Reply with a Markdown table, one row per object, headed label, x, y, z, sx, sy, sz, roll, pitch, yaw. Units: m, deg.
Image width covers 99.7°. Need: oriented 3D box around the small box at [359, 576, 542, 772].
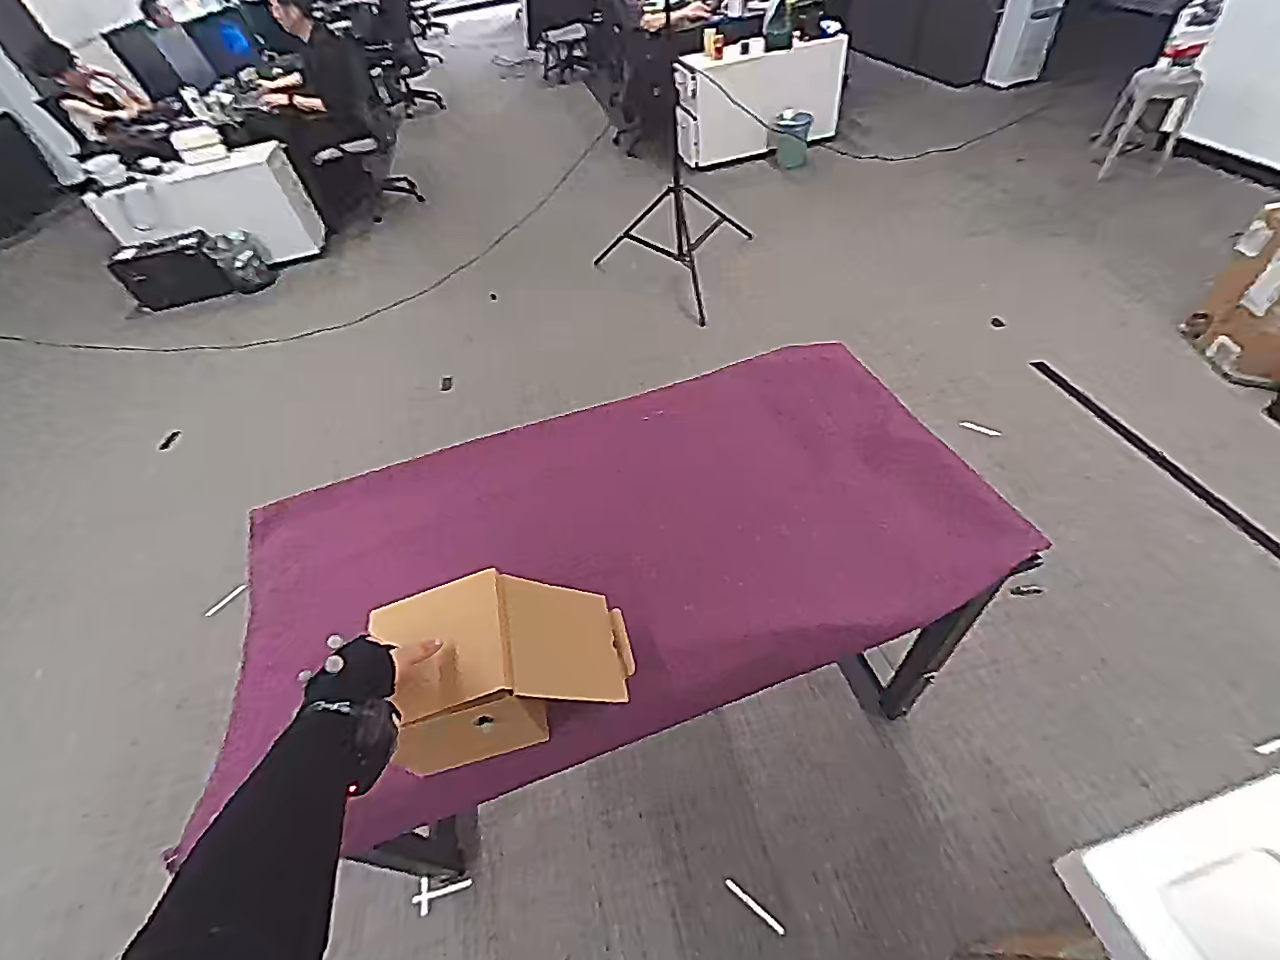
| label | x | y | z | sx | sy | sz | roll | pitch | yaw |
| --- | --- | --- | --- | --- | --- | --- | --- | --- | --- |
| small box | -0.235 | 0.257 | 0.711 | 0.179 | 0.176 | 0.168 | -15 | 48 | -4 |
